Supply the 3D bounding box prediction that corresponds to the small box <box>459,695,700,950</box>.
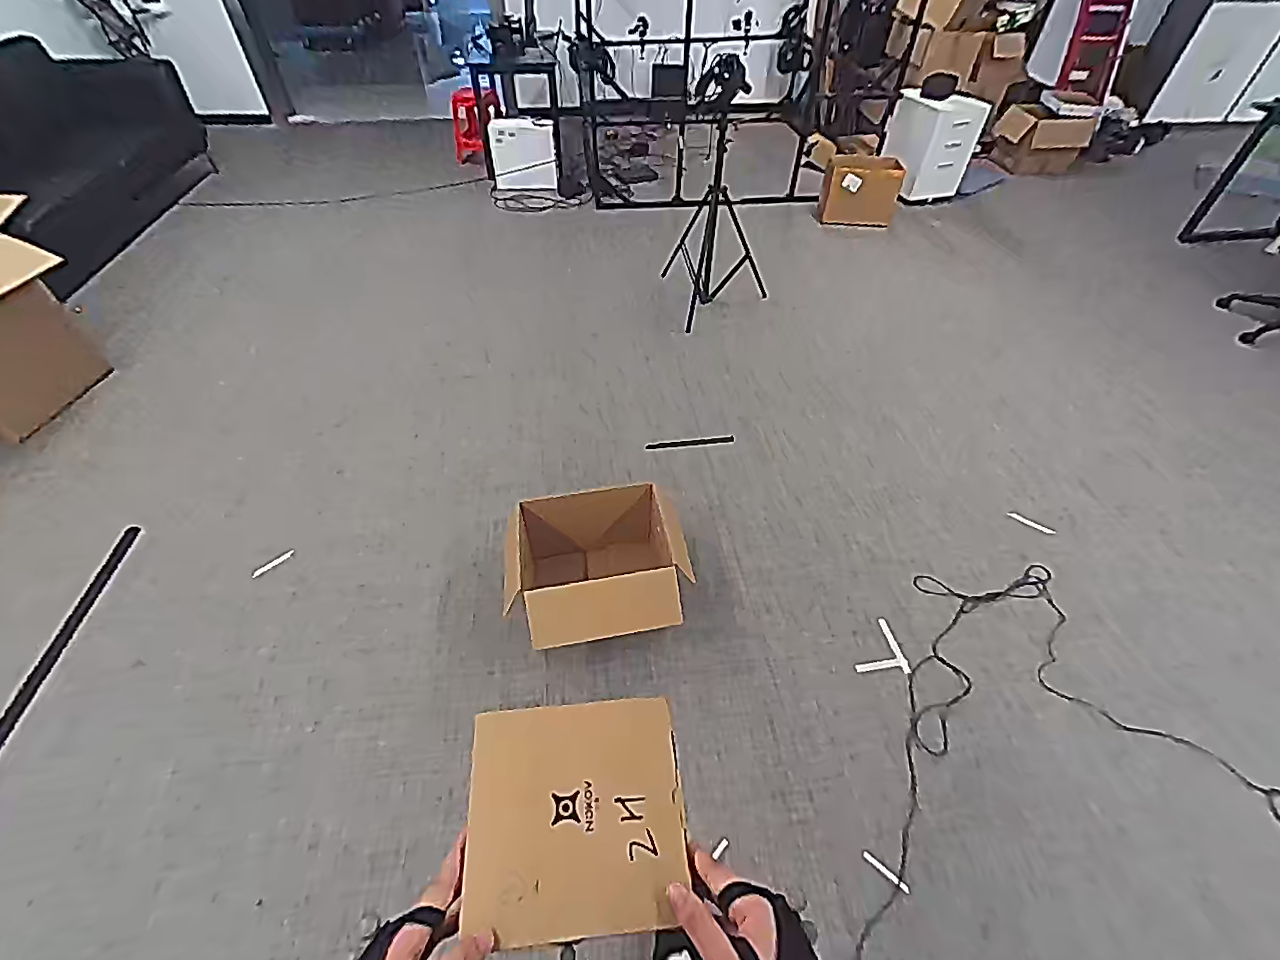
[{"bbox_3d":[-0.051,0.312,0.495,0.179,0.176,0.168,-3,52,-5],"label":"small box"}]
